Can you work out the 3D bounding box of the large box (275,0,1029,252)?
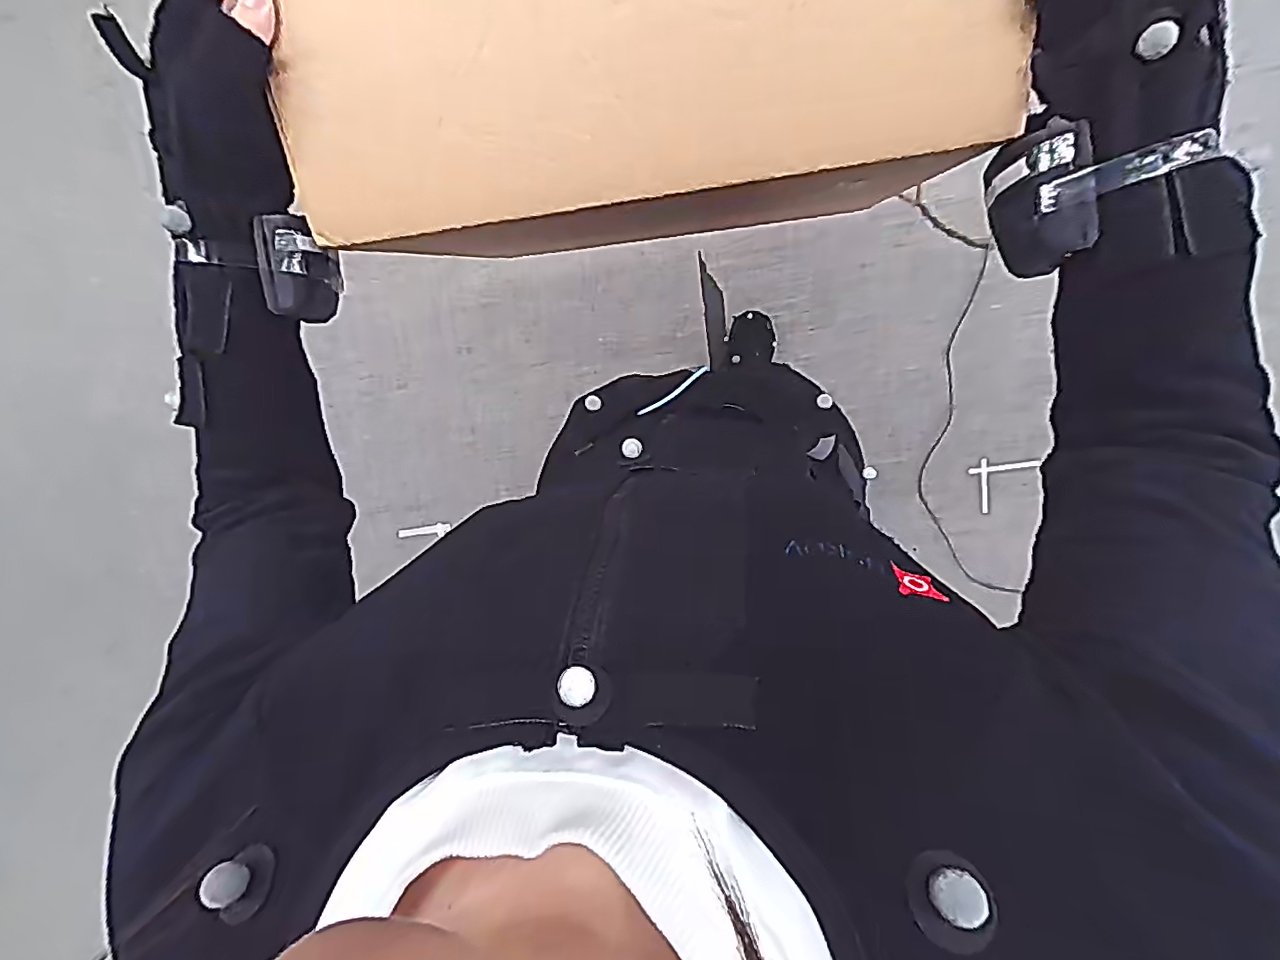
[{"bbox_3d":[0.002,-0.370,0.403,0.408,0.320,0.320,-4,111,10],"label":"large box"}]
